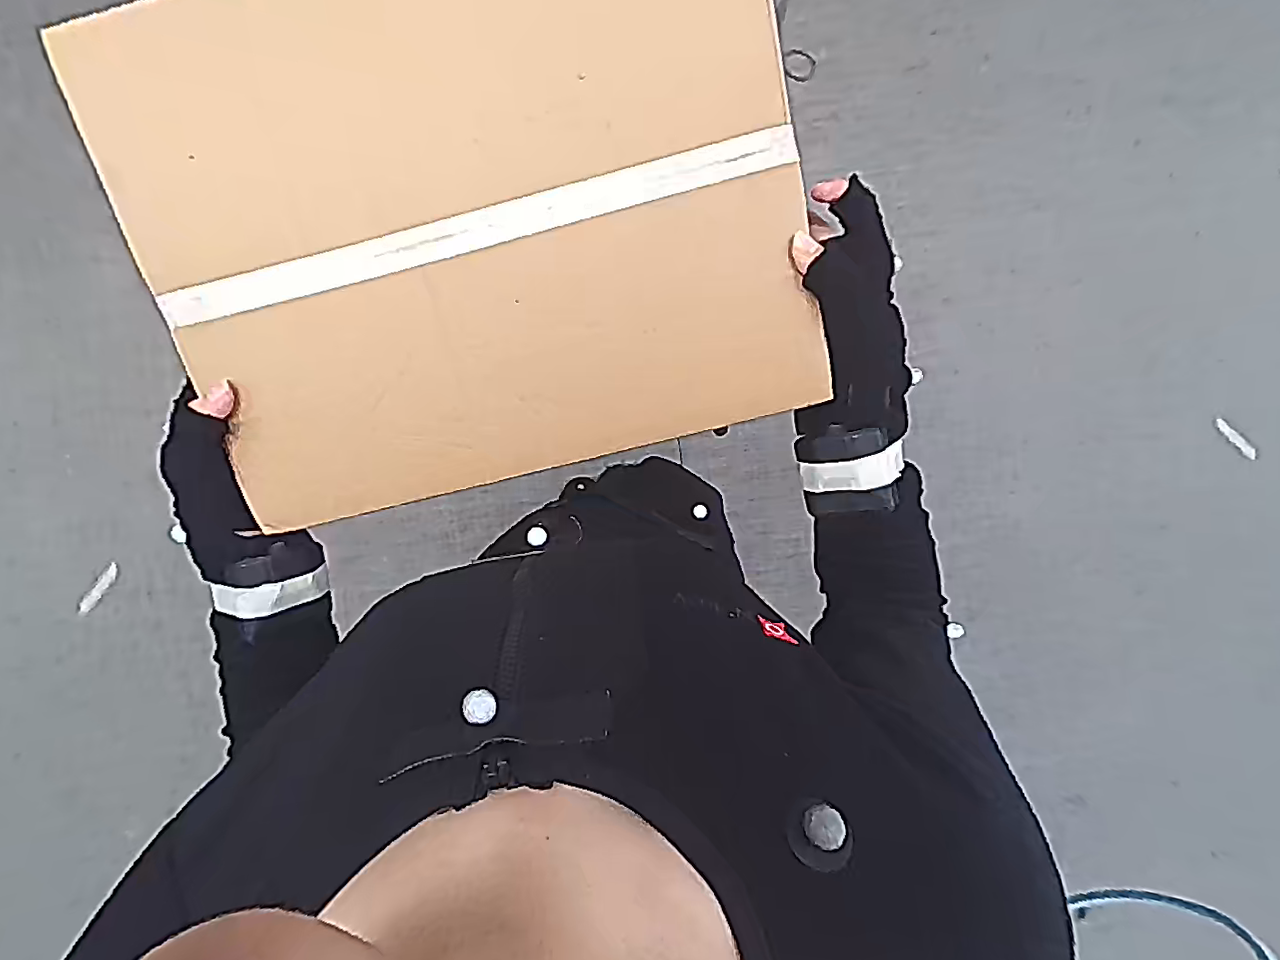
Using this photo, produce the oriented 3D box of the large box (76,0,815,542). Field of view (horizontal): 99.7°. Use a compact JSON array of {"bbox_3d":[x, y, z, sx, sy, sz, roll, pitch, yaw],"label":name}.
[{"bbox_3d":[-0.108,-0.186,0.489,0.408,0.320,0.320,-14,104,3],"label":"large box"}]
